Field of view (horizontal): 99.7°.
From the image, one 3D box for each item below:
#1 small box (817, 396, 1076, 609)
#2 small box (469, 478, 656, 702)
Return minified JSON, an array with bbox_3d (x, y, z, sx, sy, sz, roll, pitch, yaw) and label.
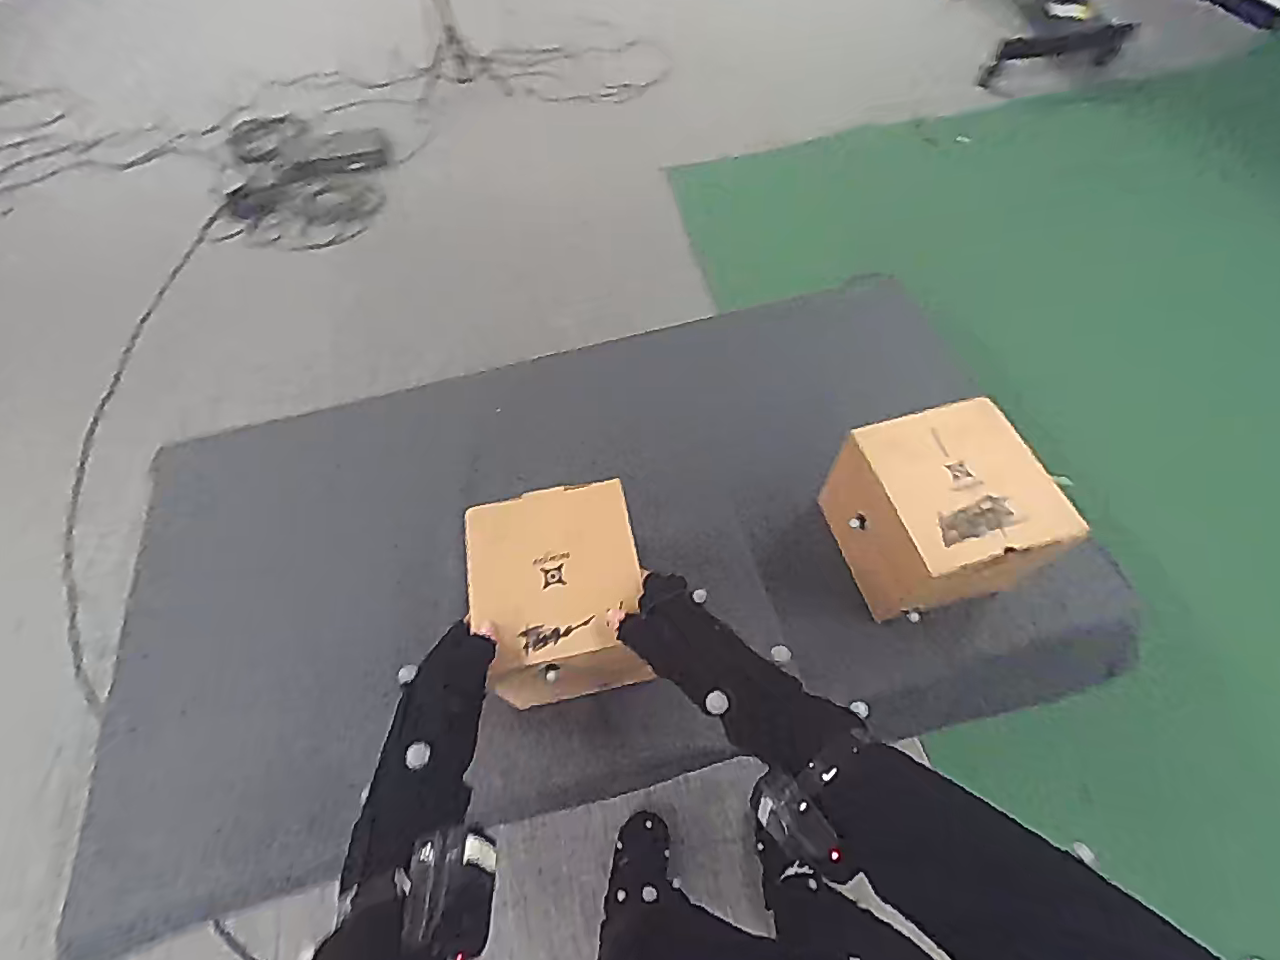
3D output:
[{"bbox_3d":[0.327,0.036,0.623,0.168,0.176,0.179,-14,60,-4],"label":"small box"},{"bbox_3d":[-0.081,0.124,0.590,0.168,0.176,0.179,-11,59,-4],"label":"small box"}]
